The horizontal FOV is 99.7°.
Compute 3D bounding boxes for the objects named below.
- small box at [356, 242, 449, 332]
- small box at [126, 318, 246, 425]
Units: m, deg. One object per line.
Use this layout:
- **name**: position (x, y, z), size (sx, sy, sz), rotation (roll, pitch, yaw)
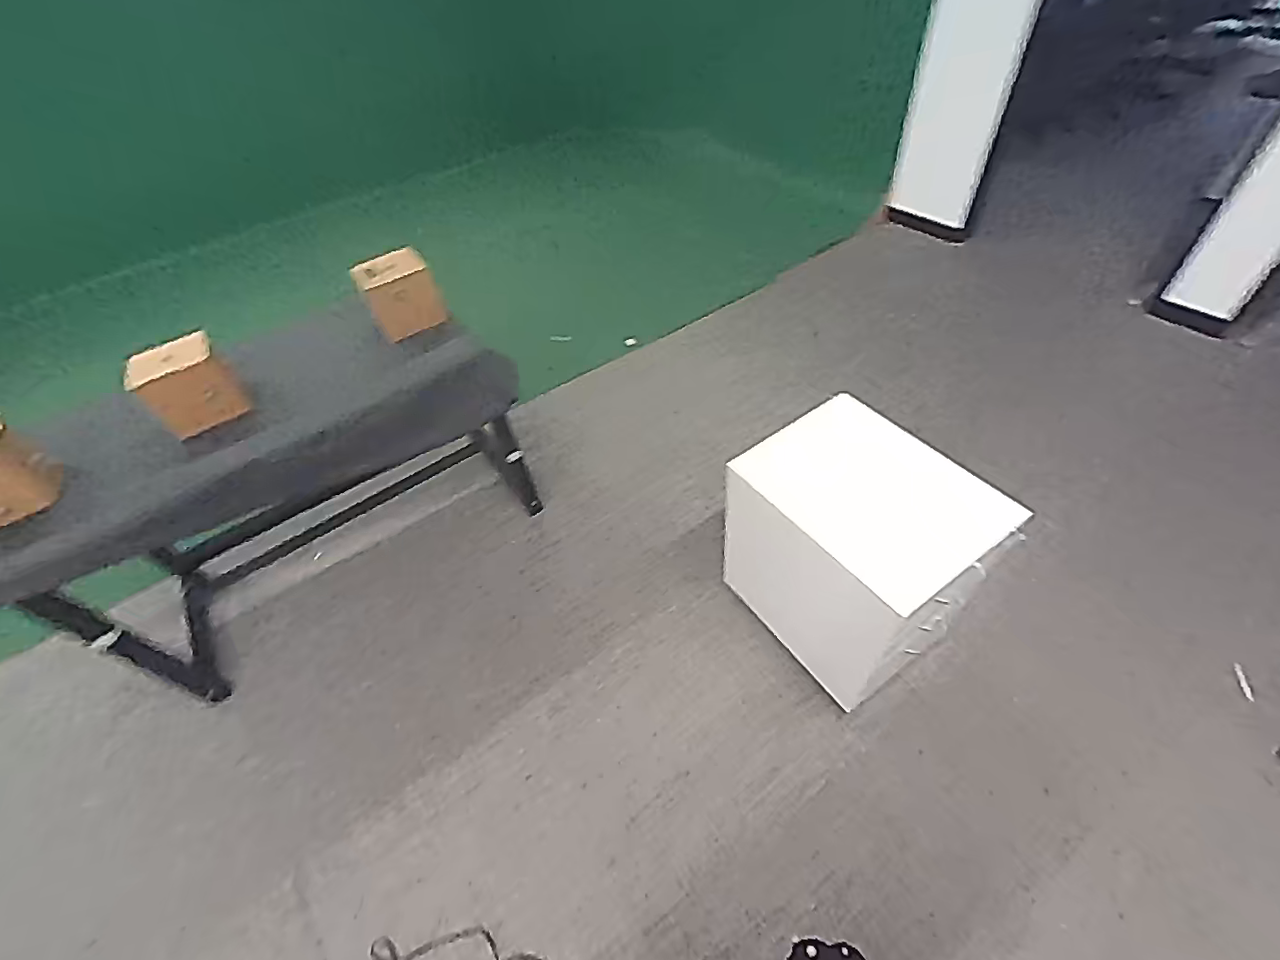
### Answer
- **small box**: position (-0.677, -0.551, 1.552), size (0.179, 0.176, 0.168), rotation (-28, 52, -19)
- **small box**: position (-1.127, -0.271, 1.355), size (0.179, 0.176, 0.168), rotation (-30, 51, -18)
